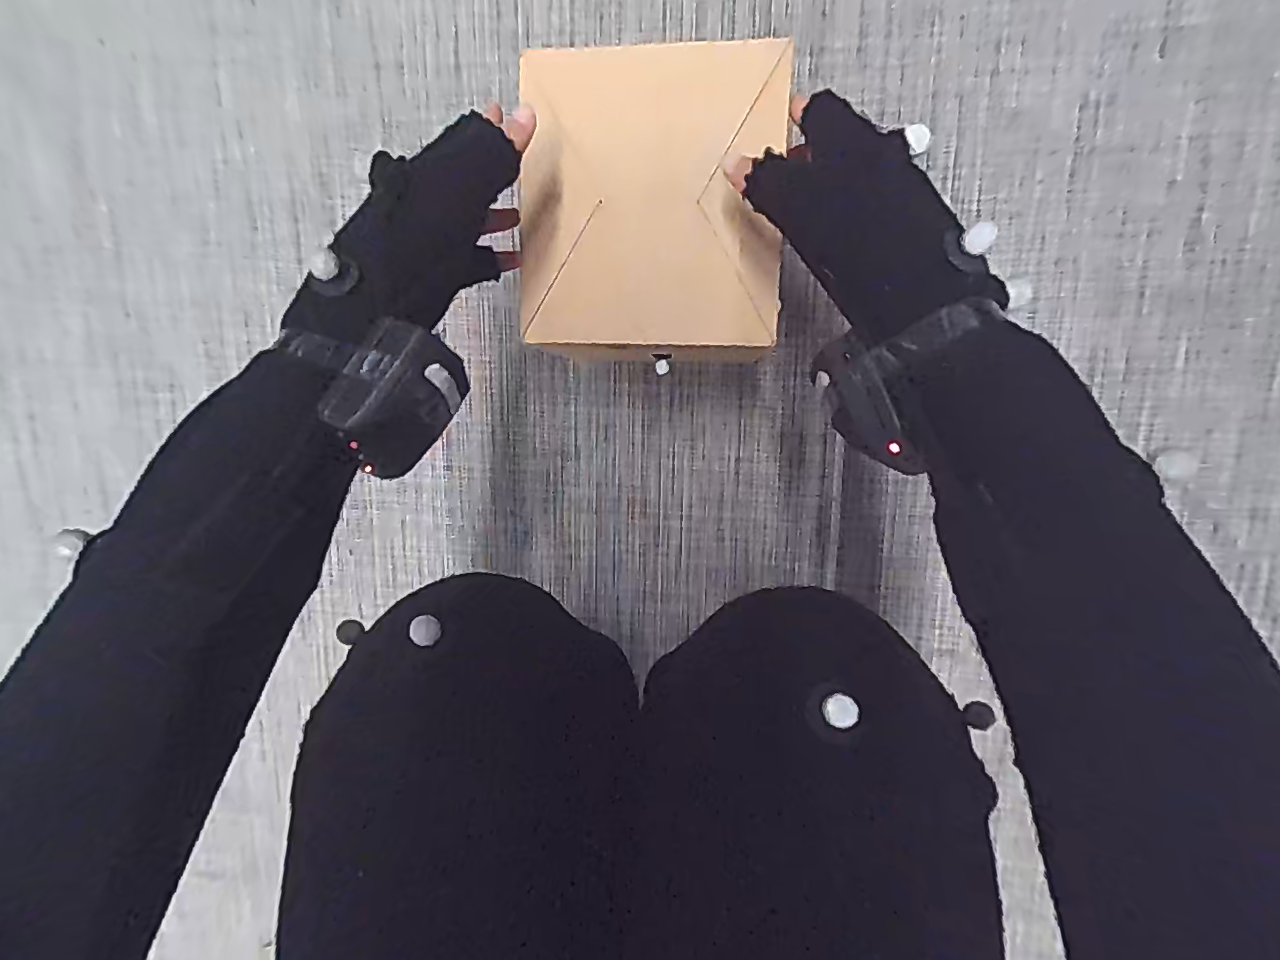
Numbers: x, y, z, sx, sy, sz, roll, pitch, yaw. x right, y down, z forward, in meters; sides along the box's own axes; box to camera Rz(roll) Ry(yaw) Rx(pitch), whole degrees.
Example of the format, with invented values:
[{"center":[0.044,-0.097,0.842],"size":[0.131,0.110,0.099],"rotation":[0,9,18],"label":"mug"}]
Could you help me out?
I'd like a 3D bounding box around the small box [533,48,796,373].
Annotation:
[{"center":[0.020,-0.179,0.416],"size":[0.168,0.176,0.179],"rotation":[2,97,6],"label":"small box"}]
